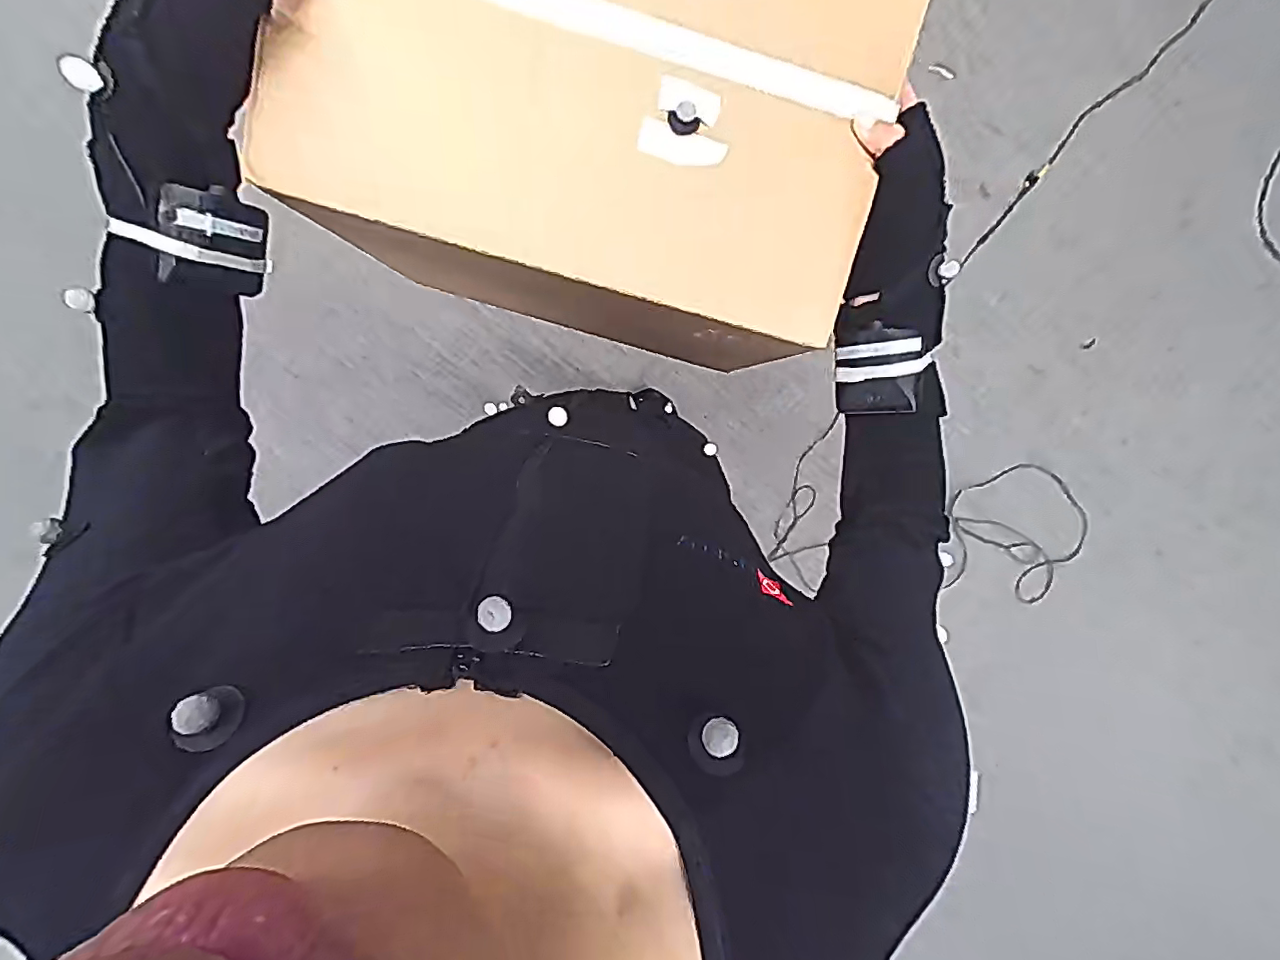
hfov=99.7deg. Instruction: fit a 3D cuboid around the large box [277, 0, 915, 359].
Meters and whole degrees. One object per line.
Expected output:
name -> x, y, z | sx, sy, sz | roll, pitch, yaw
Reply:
large box -> -0.031, -0.322, 0.511 | 0.408, 0.320, 0.320 | 14, 98, -5
